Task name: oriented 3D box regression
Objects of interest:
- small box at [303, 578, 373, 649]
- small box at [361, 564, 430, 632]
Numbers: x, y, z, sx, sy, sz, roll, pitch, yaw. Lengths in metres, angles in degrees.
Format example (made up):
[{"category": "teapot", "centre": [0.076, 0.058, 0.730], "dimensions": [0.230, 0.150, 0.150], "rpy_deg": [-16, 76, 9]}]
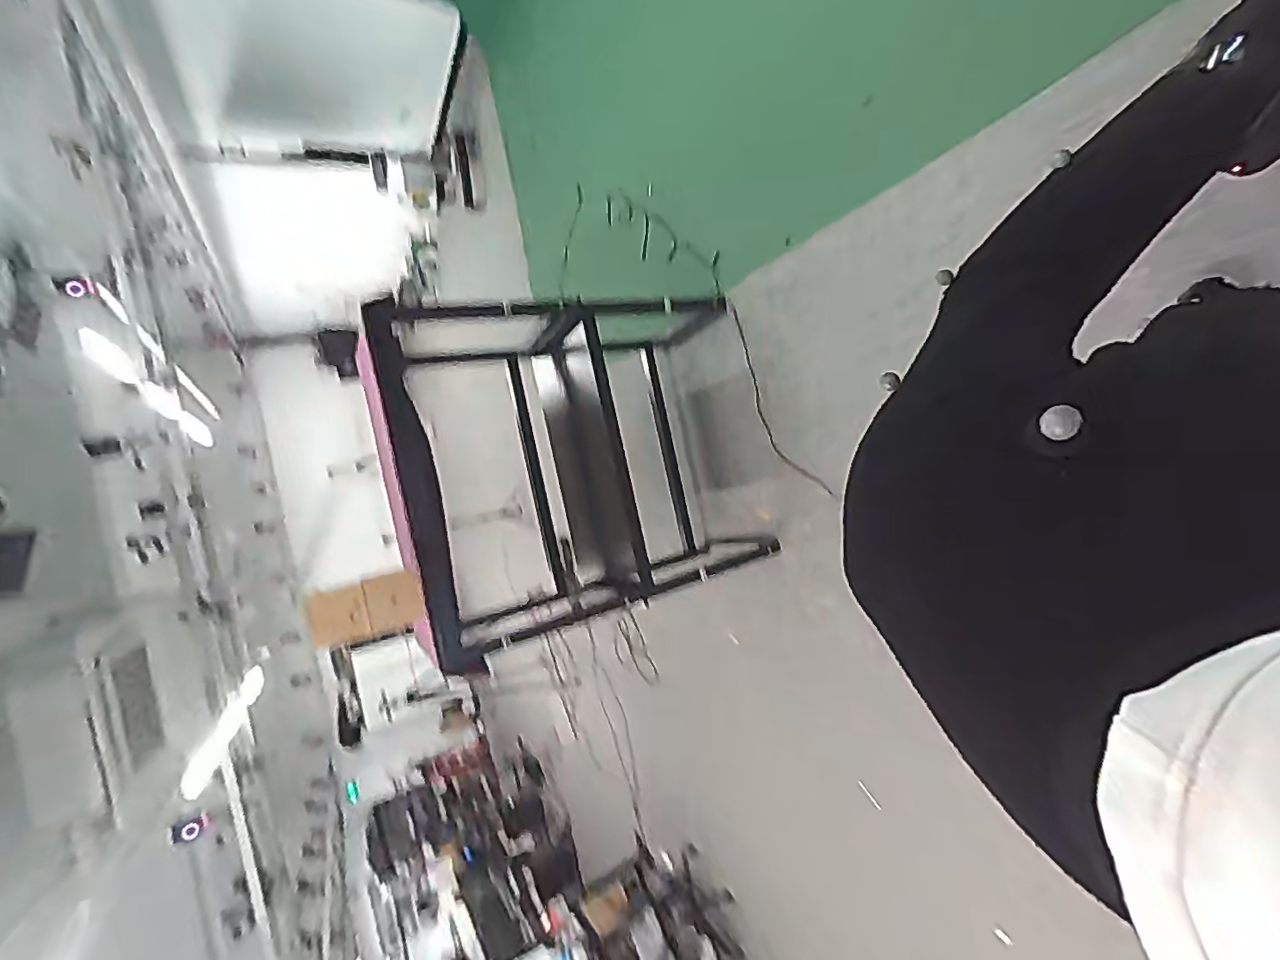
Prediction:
[{"category": "small box", "centre": [-0.947, 0.413, 1.706], "dimensions": [0.179, 0.176, 0.168], "rpy_deg": [-12, 90, 61]}, {"category": "small box", "centre": [-0.804, 0.379, 1.775], "dimensions": [0.168, 0.176, 0.179], "rpy_deg": [-12, 91, 61]}]
